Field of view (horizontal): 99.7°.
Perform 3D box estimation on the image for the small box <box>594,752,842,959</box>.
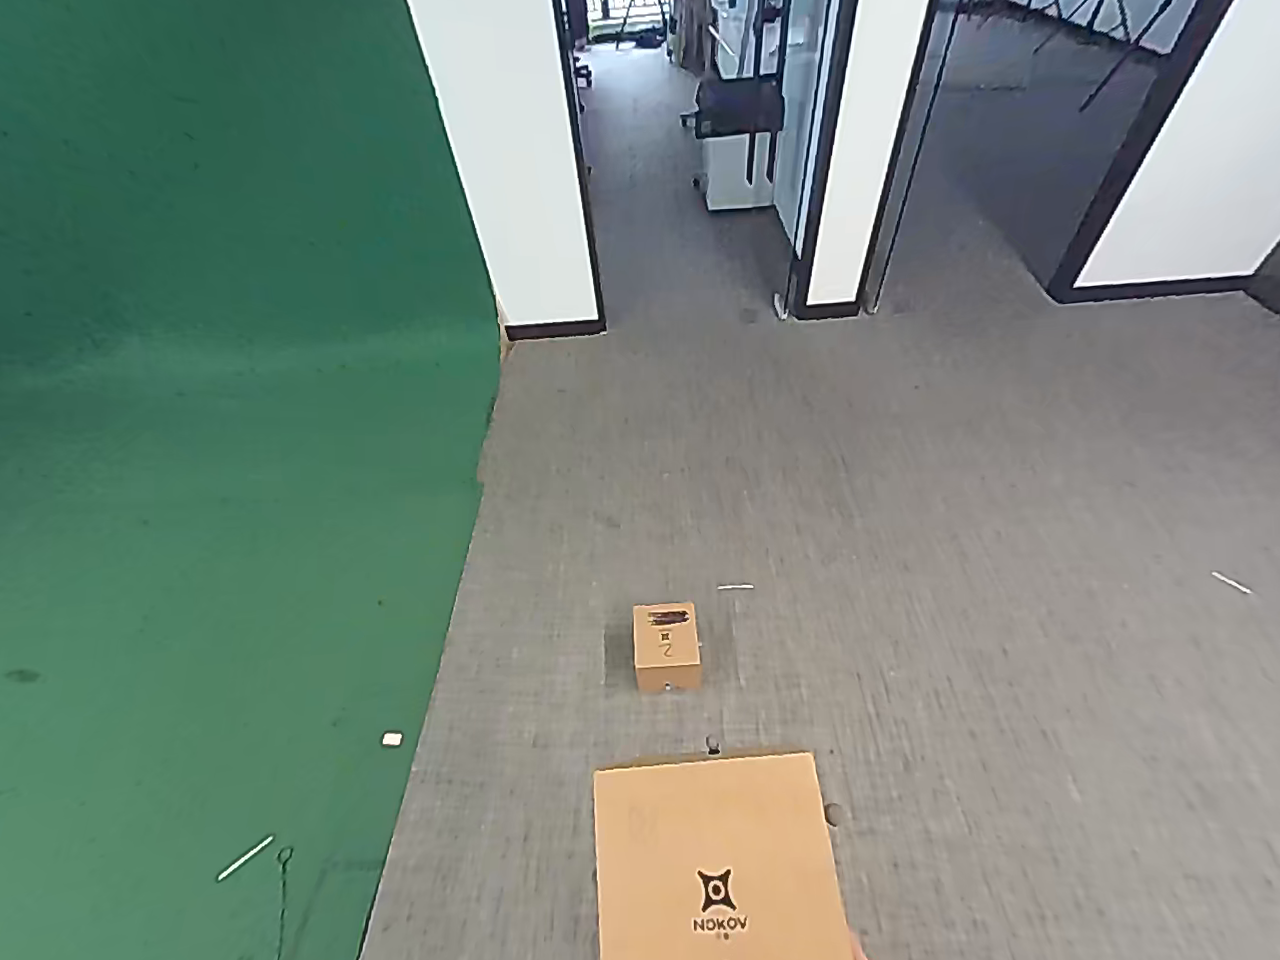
[{"bbox_3d":[0.063,0.326,0.444,0.168,0.176,0.179,-9,64,8],"label":"small box"}]
